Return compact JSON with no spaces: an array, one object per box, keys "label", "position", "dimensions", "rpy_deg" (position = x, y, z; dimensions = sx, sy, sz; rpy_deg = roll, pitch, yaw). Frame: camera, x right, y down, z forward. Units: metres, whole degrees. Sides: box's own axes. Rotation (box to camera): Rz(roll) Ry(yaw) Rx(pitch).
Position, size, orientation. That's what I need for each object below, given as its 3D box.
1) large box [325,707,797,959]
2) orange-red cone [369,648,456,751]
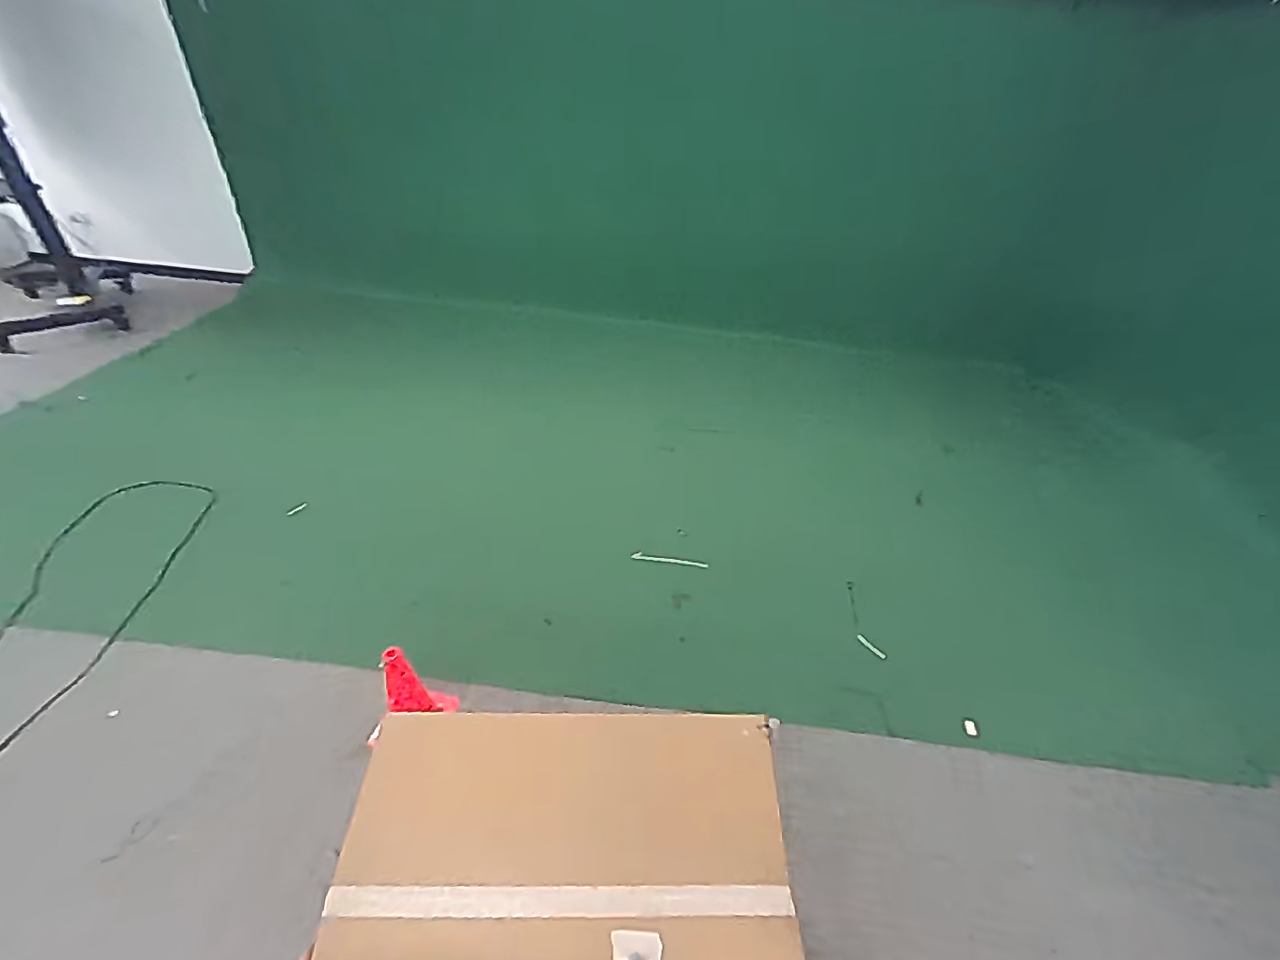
[{"label":"large box","position":[-0.069,0.462,0.598],"dimensions":[0.408,0.320,0.320],"rpy_deg":[0,50,-1]},{"label":"orange-red cone","position":[-0.676,0.601,1.534],"dimensions":[0.199,0.360,0.198],"rpy_deg":[10,37,9]}]
